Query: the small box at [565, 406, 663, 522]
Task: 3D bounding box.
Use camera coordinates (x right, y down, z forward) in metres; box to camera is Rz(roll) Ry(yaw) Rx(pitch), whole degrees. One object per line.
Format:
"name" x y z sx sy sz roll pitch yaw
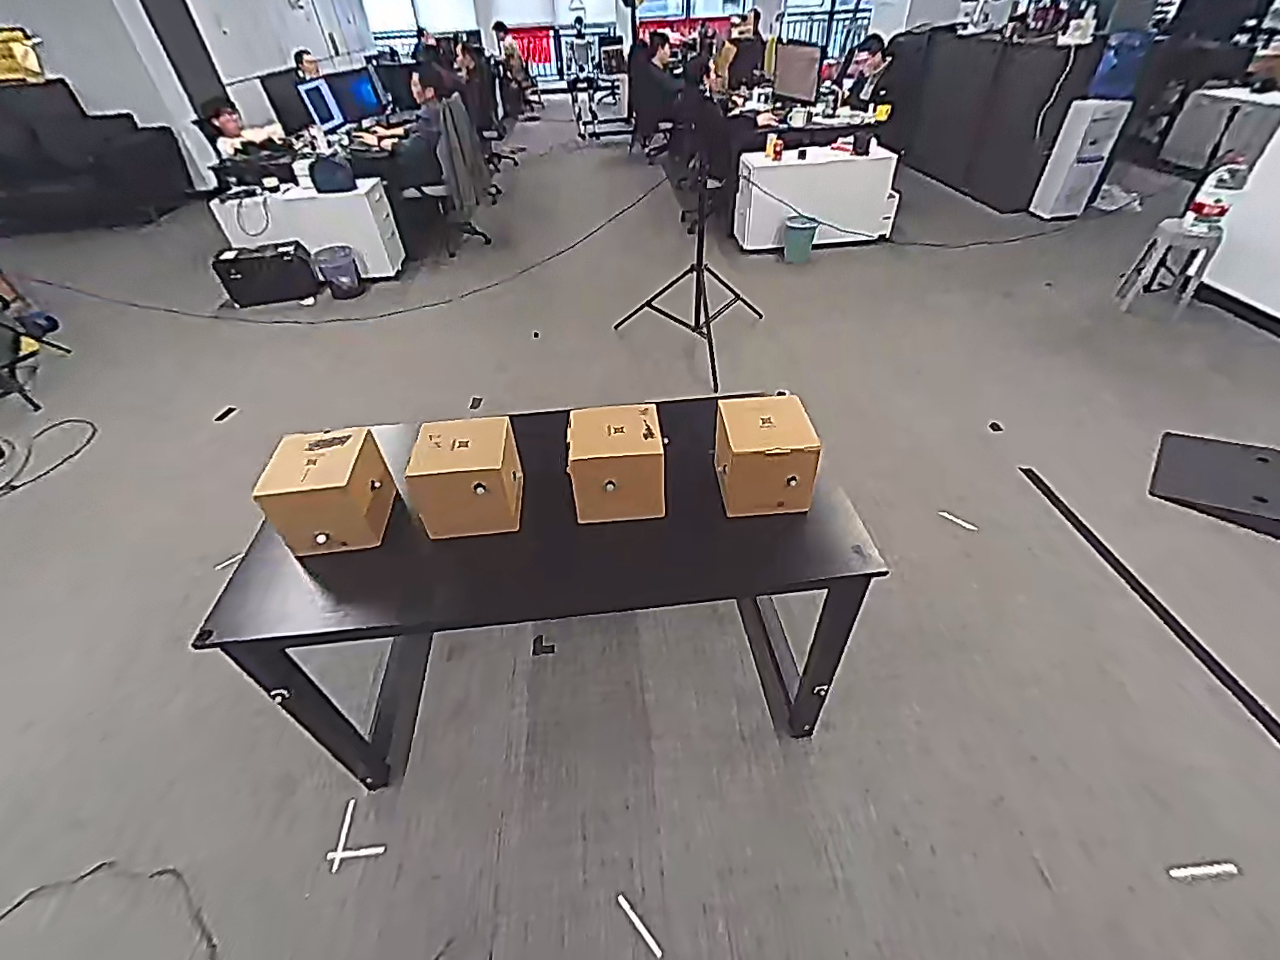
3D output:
"small box" -0.049 -0.029 1.095 0.179 0.176 0.168 -5 42 -1

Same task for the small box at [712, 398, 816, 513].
"small box" 0.241 -0.045 1.094 0.168 0.176 0.179 -4 41 -1

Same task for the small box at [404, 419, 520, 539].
"small box" -0.341 -0.001 1.079 0.179 0.176 0.168 -6 41 -3

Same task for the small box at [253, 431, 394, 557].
"small box" -0.606 0.026 1.066 0.168 0.176 0.179 -7 43 -4
